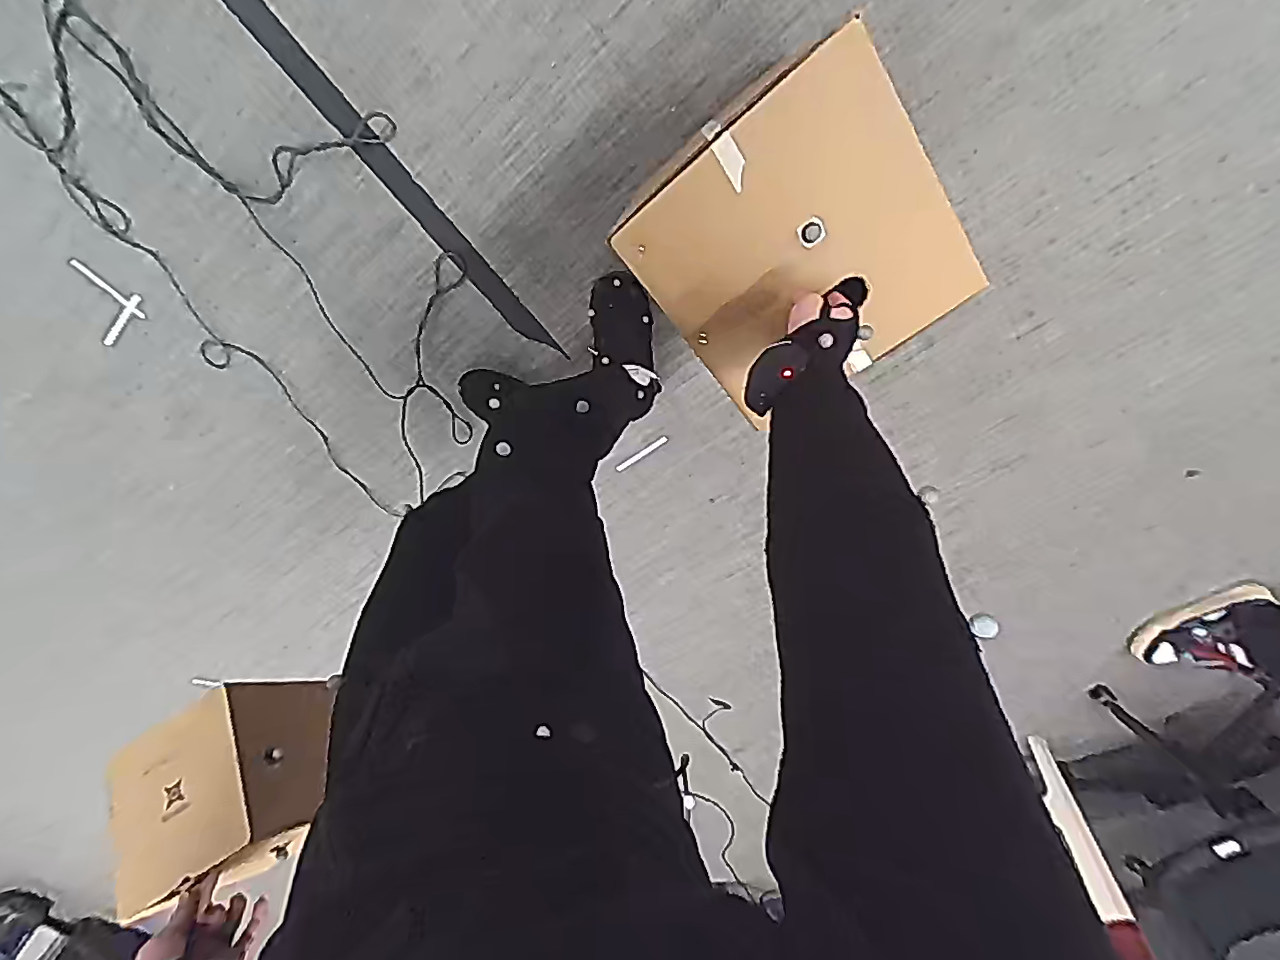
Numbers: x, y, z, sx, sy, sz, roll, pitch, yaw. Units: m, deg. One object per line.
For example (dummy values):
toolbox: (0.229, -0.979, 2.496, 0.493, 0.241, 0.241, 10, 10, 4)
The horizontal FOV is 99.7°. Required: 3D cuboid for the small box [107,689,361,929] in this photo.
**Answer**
small box: (-0.472, 0.370, 0.648, 0.168, 0.179, 0.176, -32, 157, 1)
